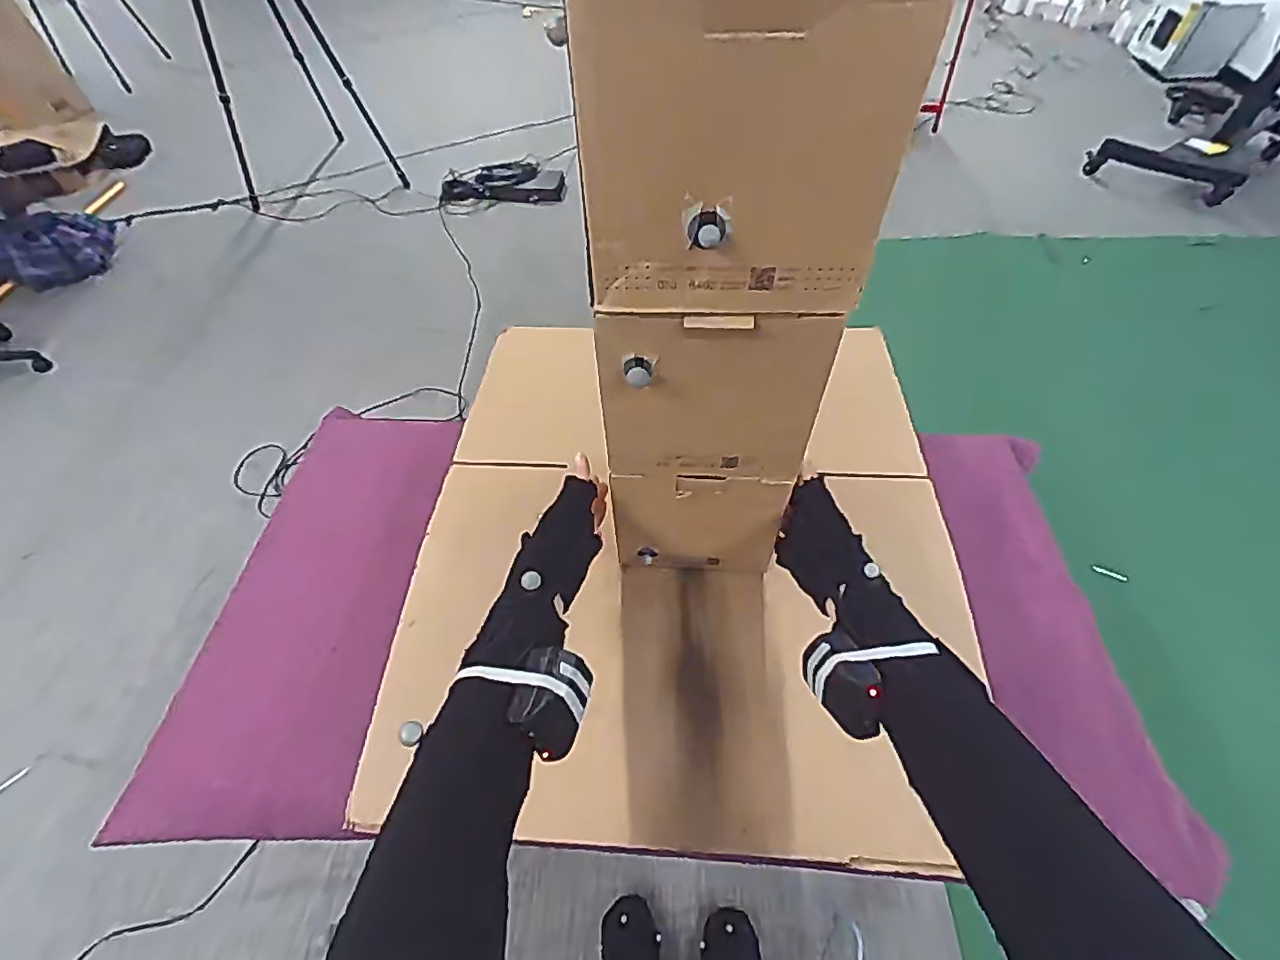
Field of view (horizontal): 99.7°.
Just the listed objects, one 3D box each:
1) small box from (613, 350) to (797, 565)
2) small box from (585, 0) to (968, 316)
[{"bbox_3d":[0.063,-0.018,0.587,0.168,0.176,0.179,0,54,2],"label":"small box"},{"bbox_3d":[0.059,-0.224,0.332,0.168,0.176,0.179,1,52,2],"label":"small box"}]
